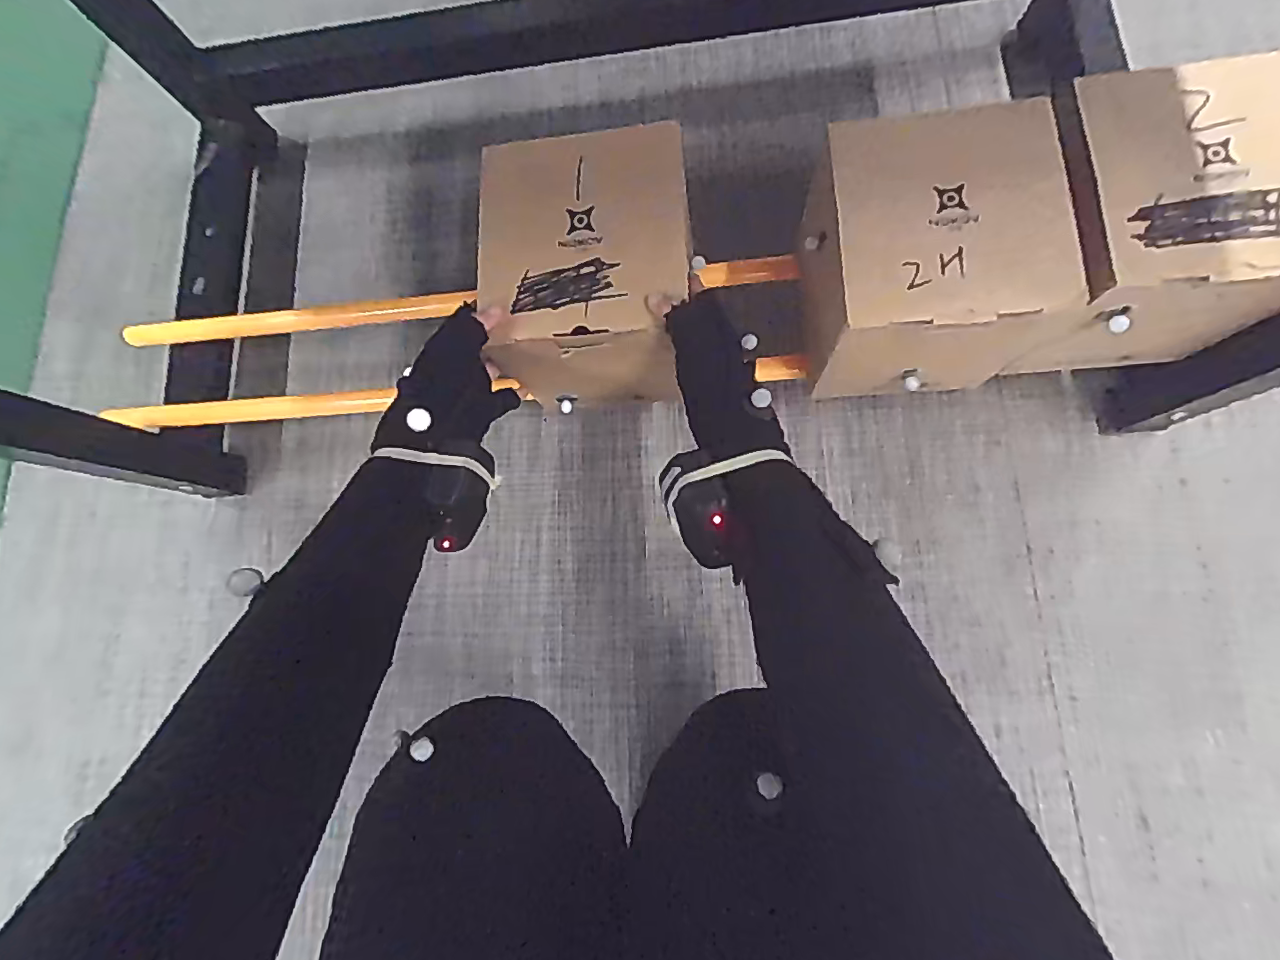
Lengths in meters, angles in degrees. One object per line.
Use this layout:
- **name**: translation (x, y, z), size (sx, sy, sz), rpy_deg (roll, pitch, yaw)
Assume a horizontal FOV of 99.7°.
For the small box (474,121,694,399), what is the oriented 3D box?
- **small box**: translation (-0.038, -0.182, 0.503), size (0.168, 0.176, 0.179), rpy_deg (-3, 78, 8)
